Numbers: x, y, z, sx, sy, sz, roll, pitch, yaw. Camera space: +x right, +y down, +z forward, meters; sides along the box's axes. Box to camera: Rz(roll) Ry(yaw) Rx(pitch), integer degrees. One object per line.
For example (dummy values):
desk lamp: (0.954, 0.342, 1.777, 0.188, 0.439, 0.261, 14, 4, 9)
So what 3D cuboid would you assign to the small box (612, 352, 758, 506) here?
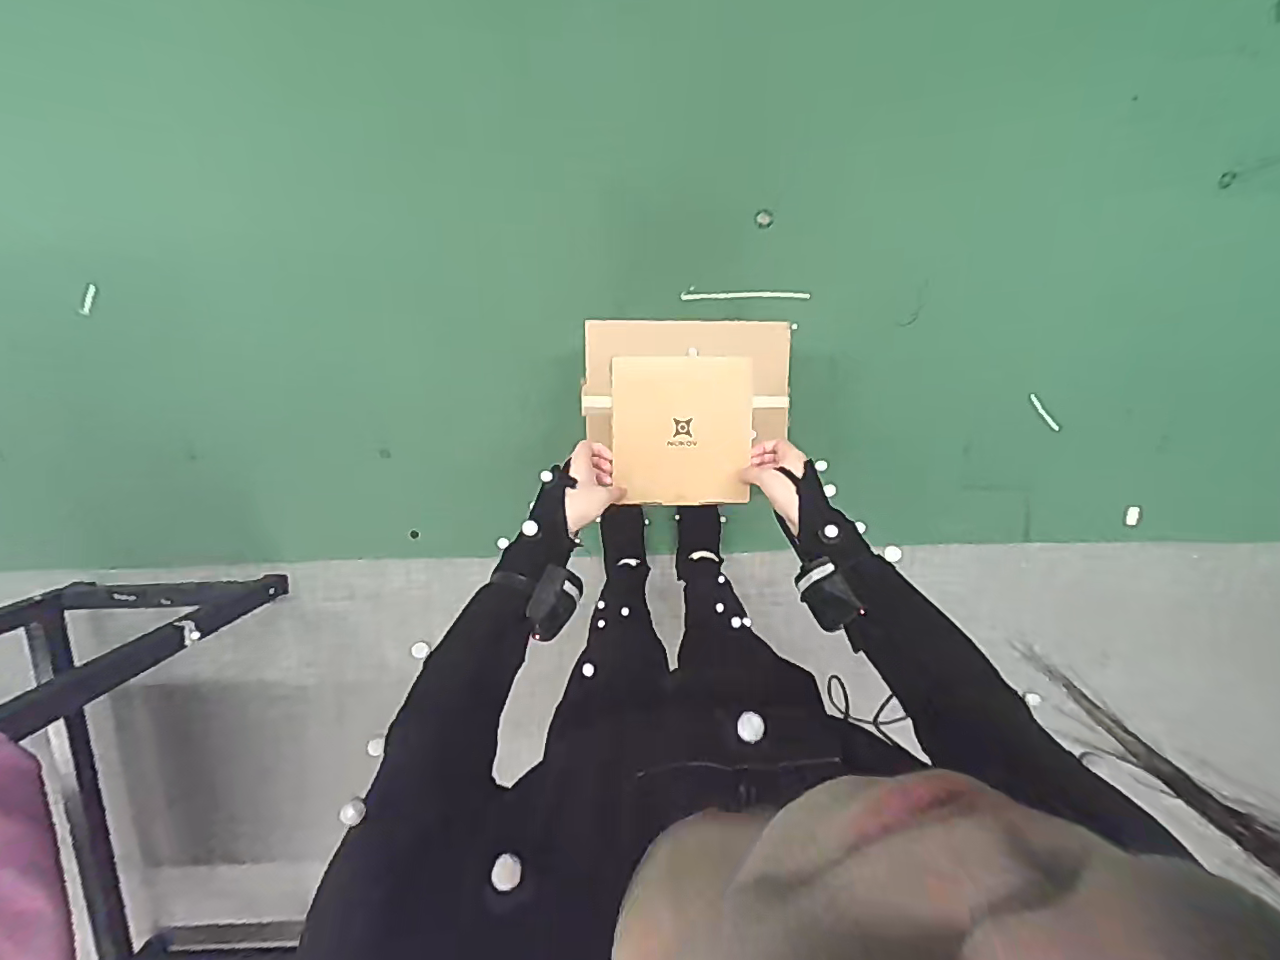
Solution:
small box: (0.047, -0.068, 0.692, 0.168, 0.176, 0.179, 0, 100, -2)

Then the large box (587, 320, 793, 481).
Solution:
large box: (0.096, -0.175, 1.209, 0.408, 0.320, 0.320, 0, 99, 0)
